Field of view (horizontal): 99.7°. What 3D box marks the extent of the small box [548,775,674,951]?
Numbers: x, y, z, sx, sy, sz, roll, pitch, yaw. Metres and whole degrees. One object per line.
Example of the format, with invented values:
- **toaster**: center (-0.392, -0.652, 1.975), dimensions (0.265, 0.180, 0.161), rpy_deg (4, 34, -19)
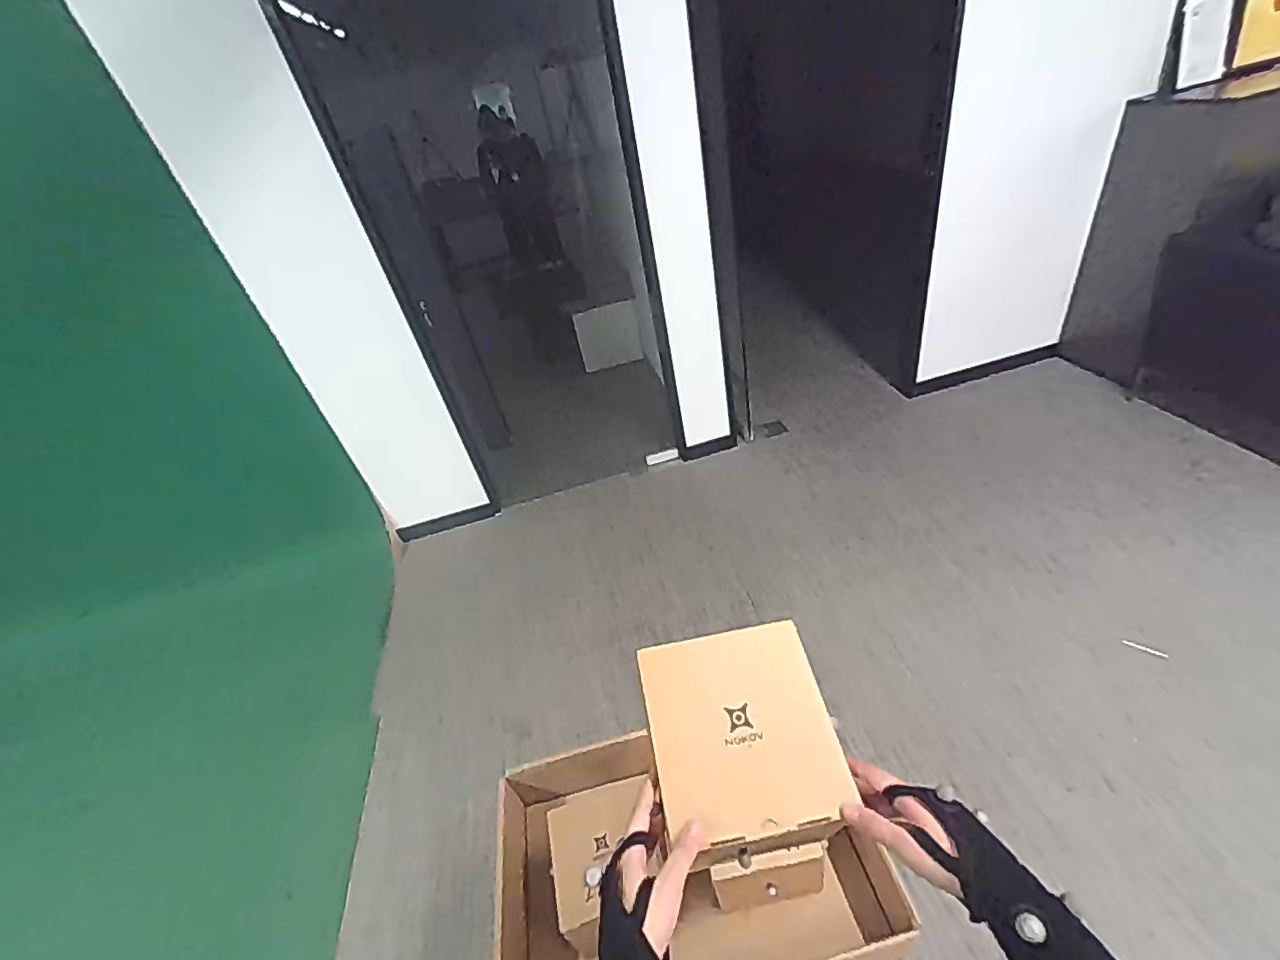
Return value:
- **small box**: center (-0.050, 0.648, 0.917), dimensions (0.168, 0.176, 0.179), rpy_deg (-17, 37, -5)
